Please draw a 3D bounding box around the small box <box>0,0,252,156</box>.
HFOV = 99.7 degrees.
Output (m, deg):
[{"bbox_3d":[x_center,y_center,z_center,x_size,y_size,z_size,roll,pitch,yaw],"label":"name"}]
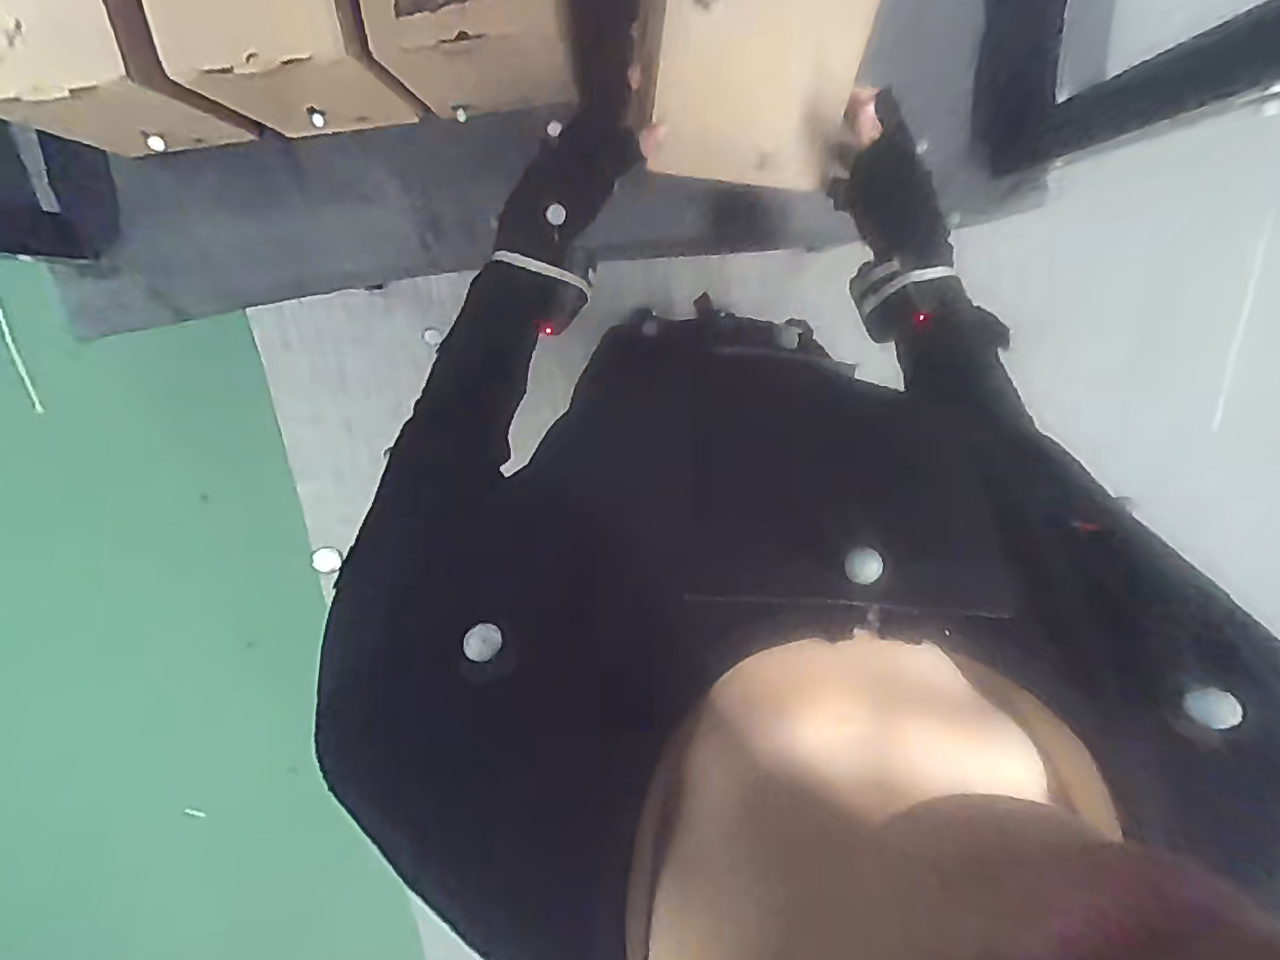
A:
[{"bbox_3d":[-0.532,-0.444,0.527,0.168,0.176,0.179,-5,107,3],"label":"small box"}]
